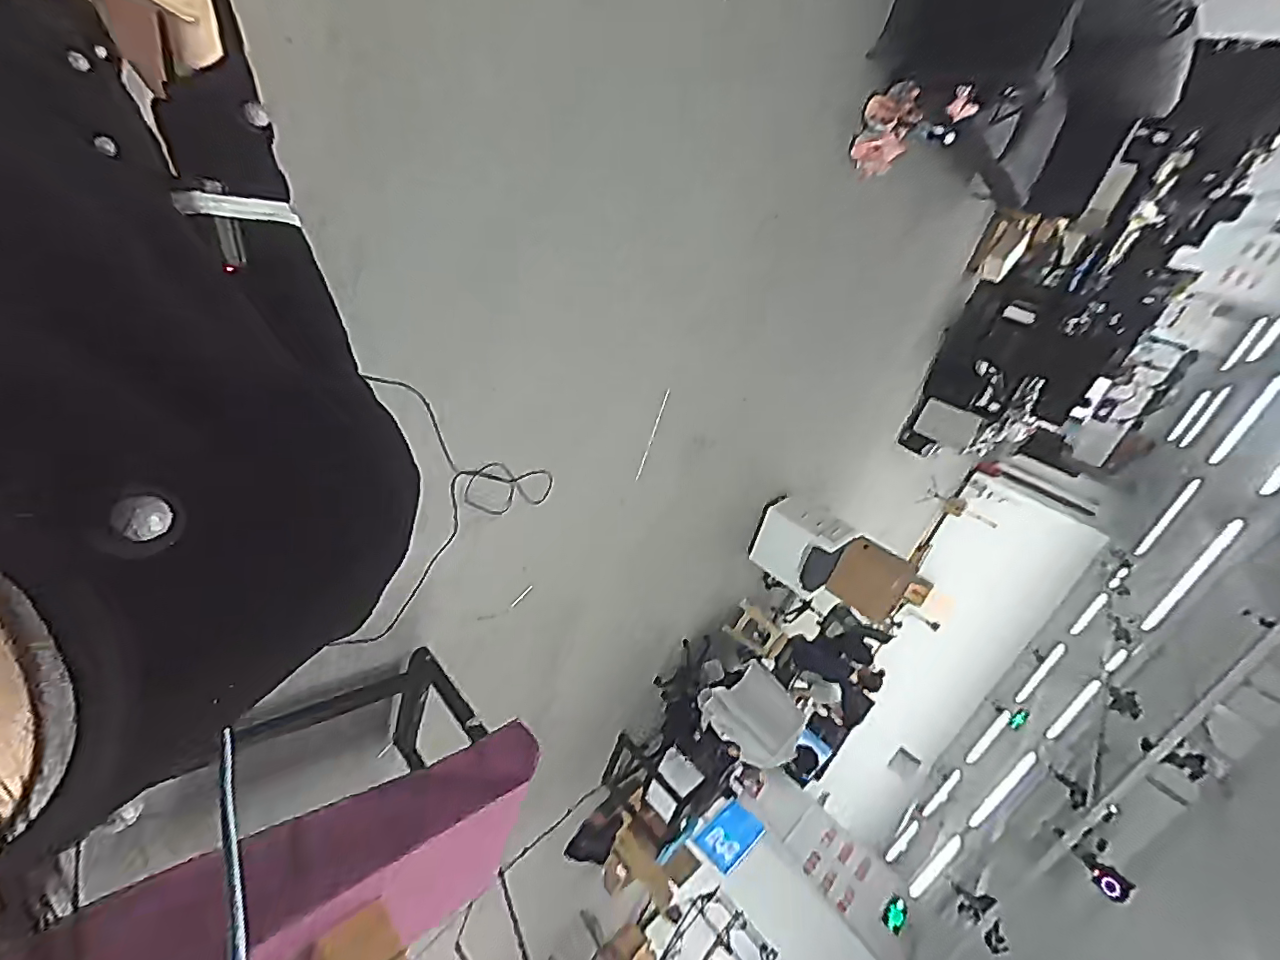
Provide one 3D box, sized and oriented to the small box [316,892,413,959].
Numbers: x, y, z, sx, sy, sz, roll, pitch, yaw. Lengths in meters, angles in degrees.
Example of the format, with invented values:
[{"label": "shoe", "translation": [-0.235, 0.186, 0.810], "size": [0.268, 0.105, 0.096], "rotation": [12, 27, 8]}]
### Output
[{"label": "small box", "translation": [-0.752, 1.288, 1.476], "size": [0.179, 0.176, 0.168], "rotation": [-5, 124, -48]}]
